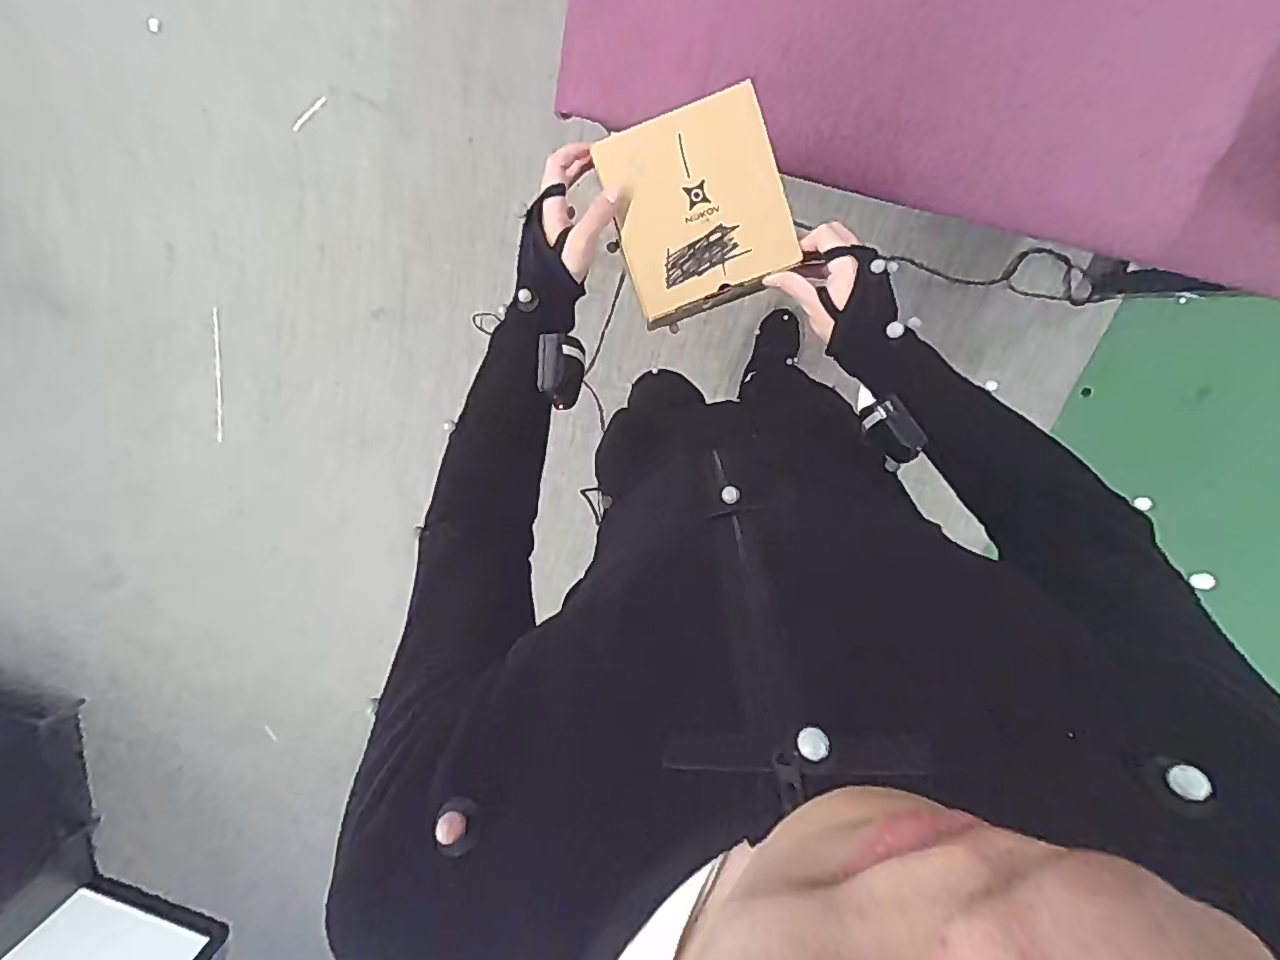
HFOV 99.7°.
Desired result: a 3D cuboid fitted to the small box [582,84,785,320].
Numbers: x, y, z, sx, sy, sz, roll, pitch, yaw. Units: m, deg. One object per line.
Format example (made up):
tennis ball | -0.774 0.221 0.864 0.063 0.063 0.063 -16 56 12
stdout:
small box | 0.049 -0.292 0.617 0.168 0.176 0.179 -18 100 6
